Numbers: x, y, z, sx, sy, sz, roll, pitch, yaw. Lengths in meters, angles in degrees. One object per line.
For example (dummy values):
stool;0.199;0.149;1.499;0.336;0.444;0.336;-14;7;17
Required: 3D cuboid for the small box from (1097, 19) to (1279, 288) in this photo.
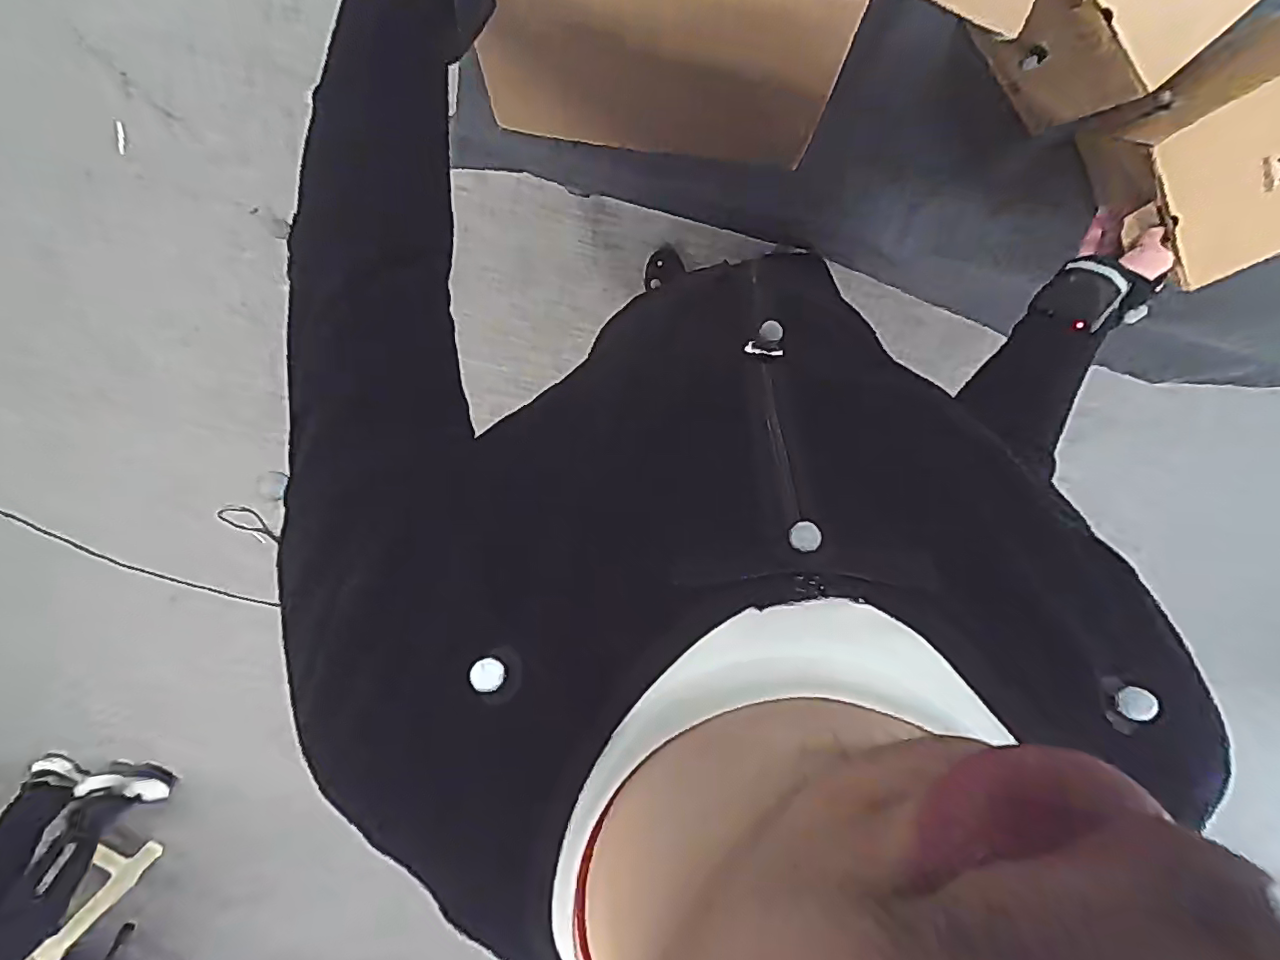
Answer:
small box;0.613;-0.334;0.554;0.179;0.176;0.168;-26;115;30
